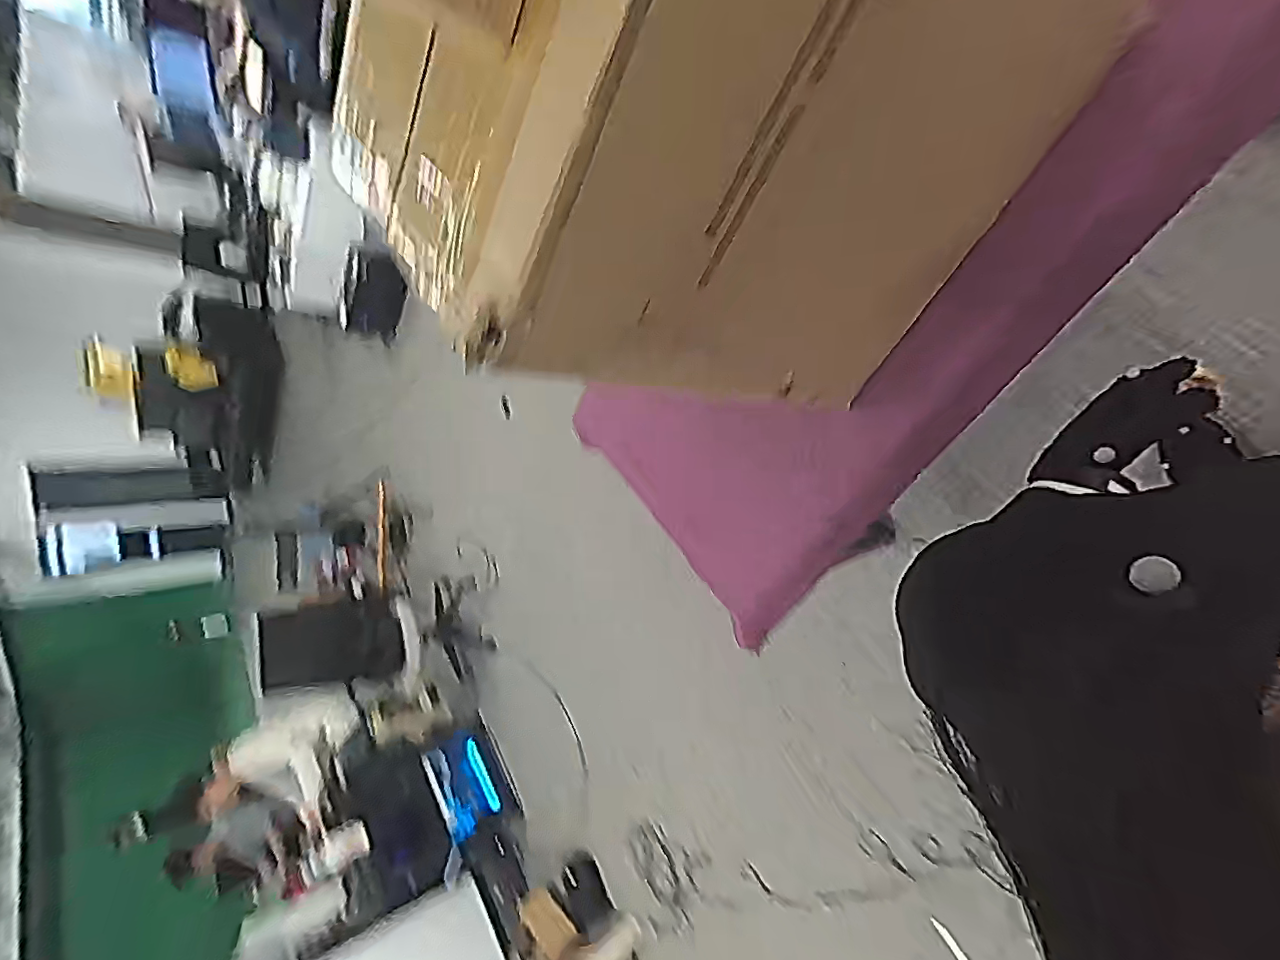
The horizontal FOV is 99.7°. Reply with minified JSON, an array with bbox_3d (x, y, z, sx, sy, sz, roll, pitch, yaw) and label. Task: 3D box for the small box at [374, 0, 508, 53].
[{"bbox_3d":[-0.157,-0.378,0.283,0.168,0.176,0.179,45,122,31],"label":"small box"}]
